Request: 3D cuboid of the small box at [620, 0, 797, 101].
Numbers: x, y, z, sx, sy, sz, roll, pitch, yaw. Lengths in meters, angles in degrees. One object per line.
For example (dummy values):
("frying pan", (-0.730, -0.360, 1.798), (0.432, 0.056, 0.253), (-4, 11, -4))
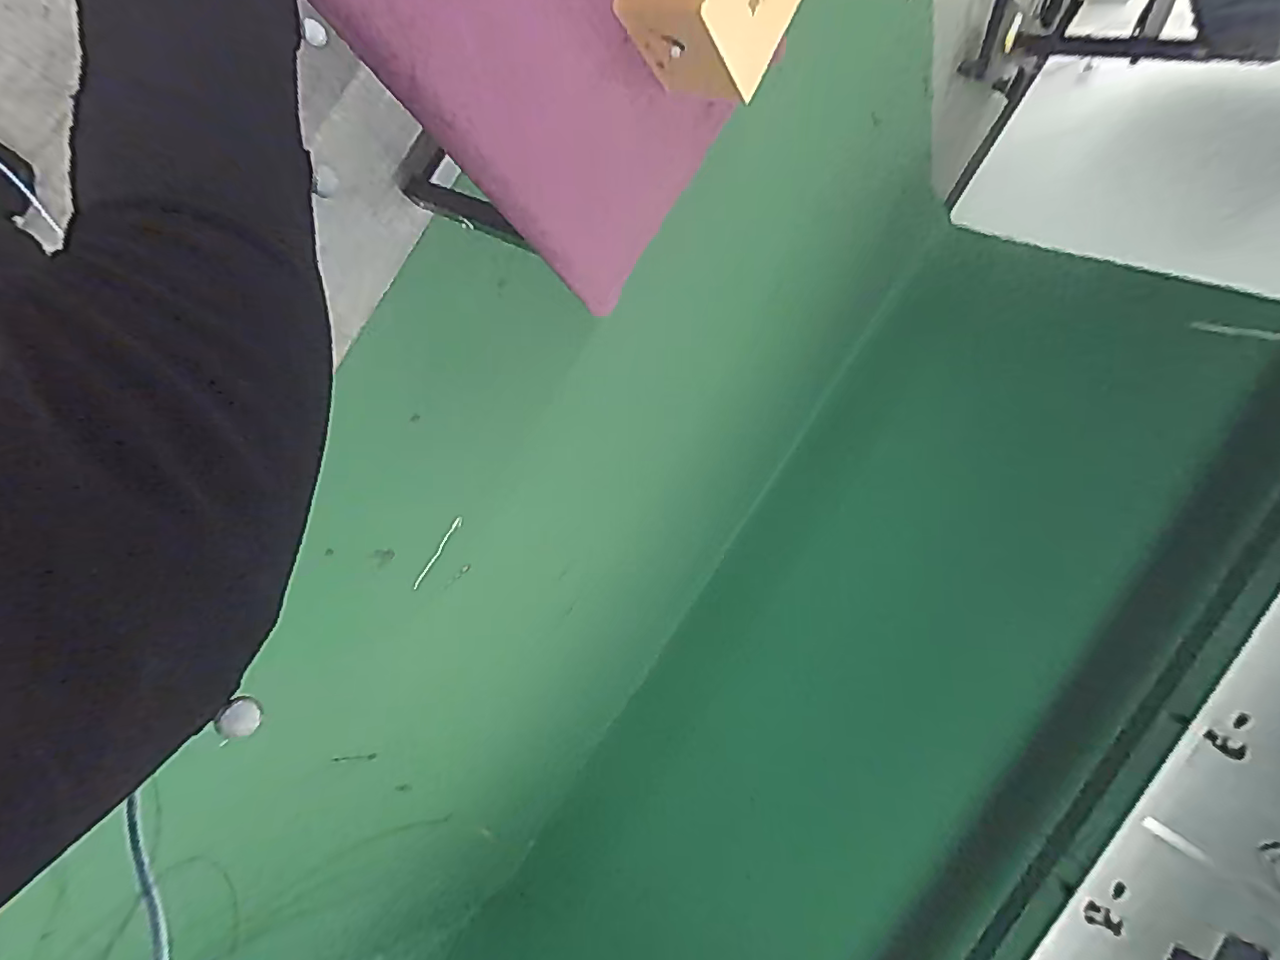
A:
("small box", (0.094, -0.687, 0.769), (0.168, 0.176, 0.179), (14, 106, -57))
